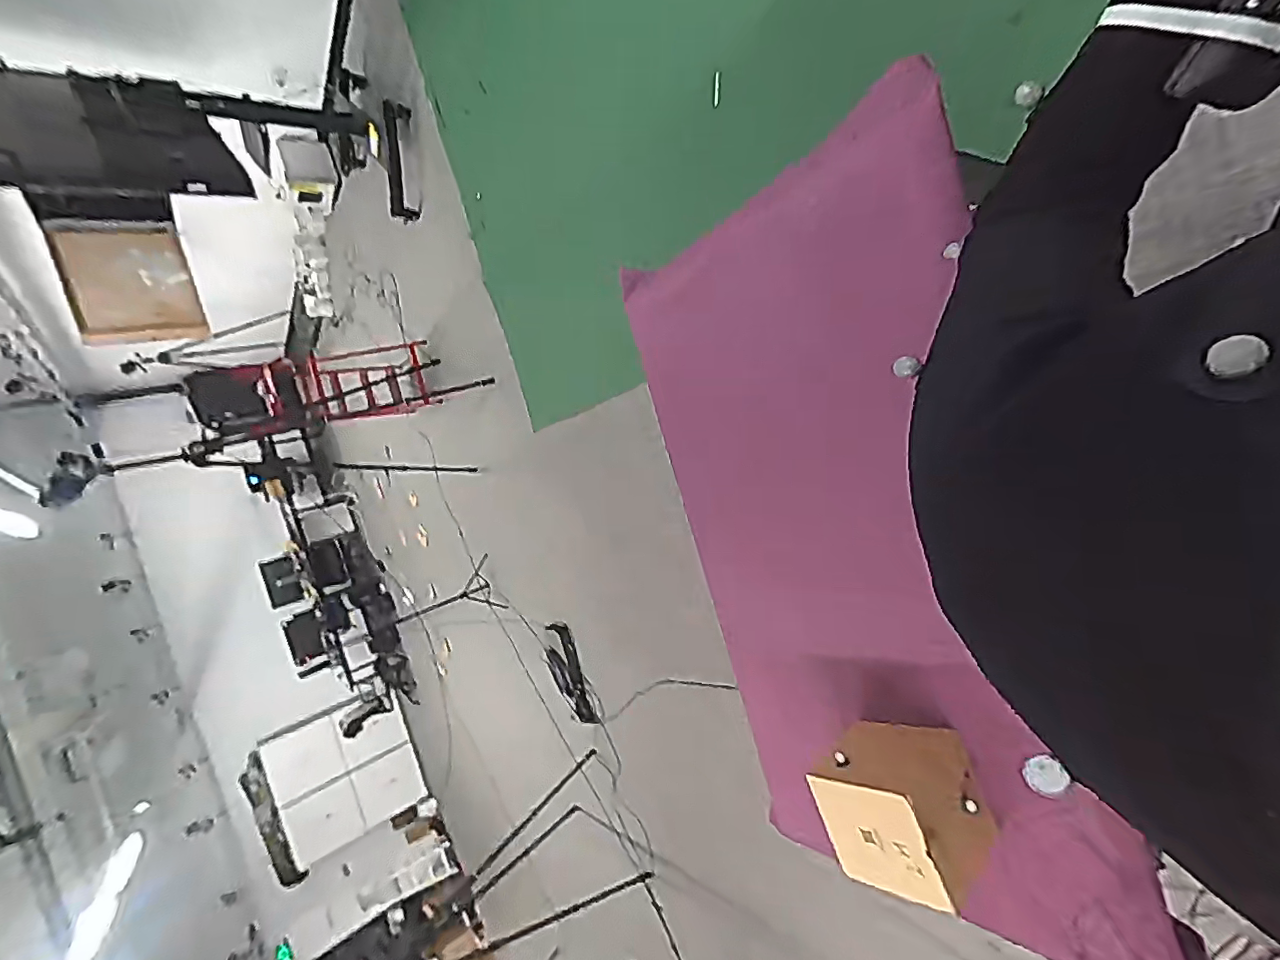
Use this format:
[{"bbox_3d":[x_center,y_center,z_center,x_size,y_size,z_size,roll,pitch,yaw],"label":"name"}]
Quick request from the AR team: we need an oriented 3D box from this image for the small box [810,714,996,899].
[{"bbox_3d":[0.406,0.485,0.839,0.179,0.176,0.168,-26,85,53],"label":"small box"}]
